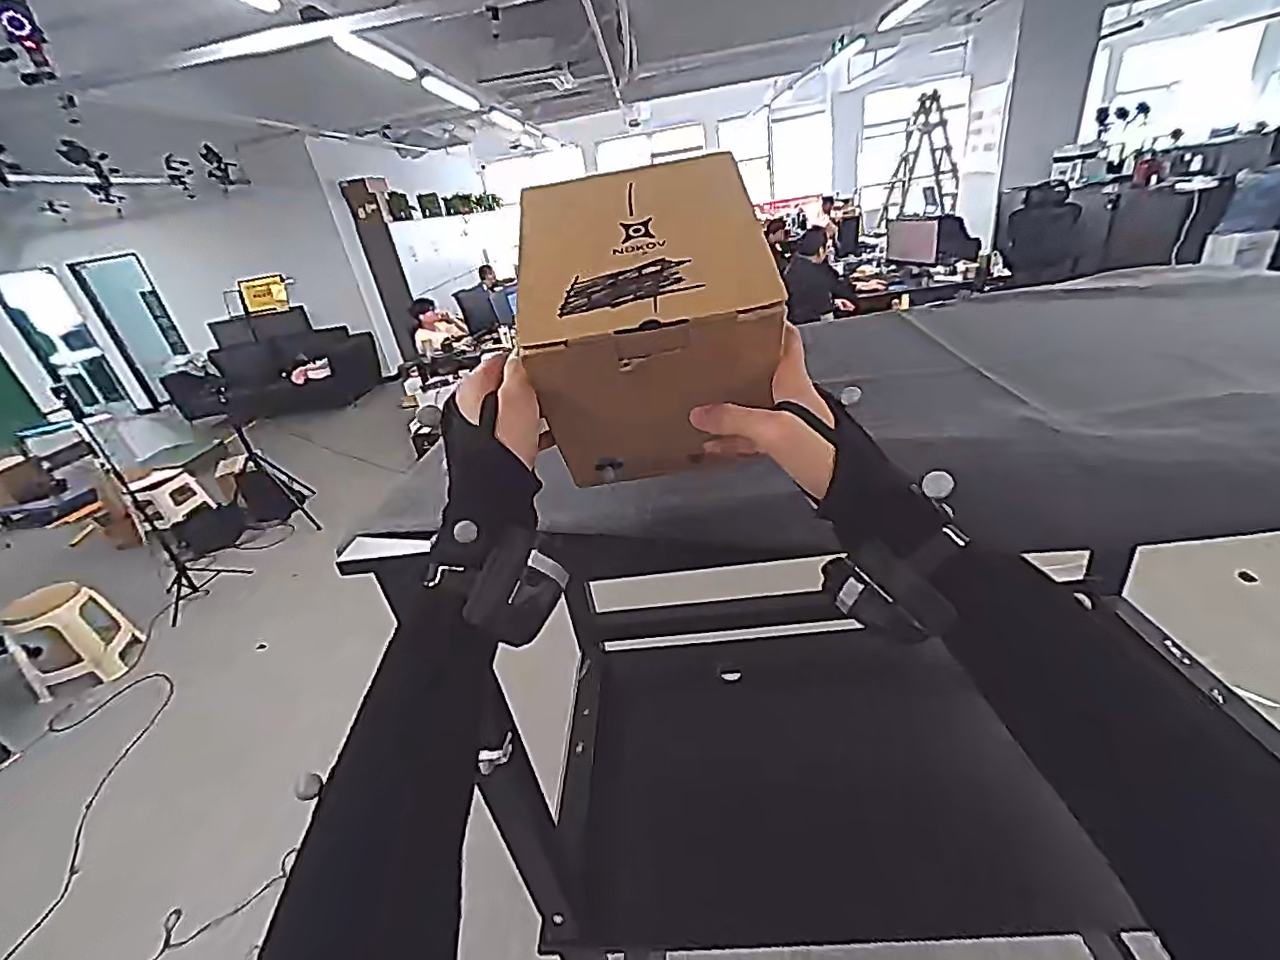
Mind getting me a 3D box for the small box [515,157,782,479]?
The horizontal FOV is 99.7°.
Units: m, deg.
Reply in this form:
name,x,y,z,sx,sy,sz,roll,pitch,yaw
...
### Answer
name,x,y,z,sx,sy,sz,roll,pitch,yaw
small box,0.008,-0.114,0.430,0.168,0.176,0.179,-9,57,3
